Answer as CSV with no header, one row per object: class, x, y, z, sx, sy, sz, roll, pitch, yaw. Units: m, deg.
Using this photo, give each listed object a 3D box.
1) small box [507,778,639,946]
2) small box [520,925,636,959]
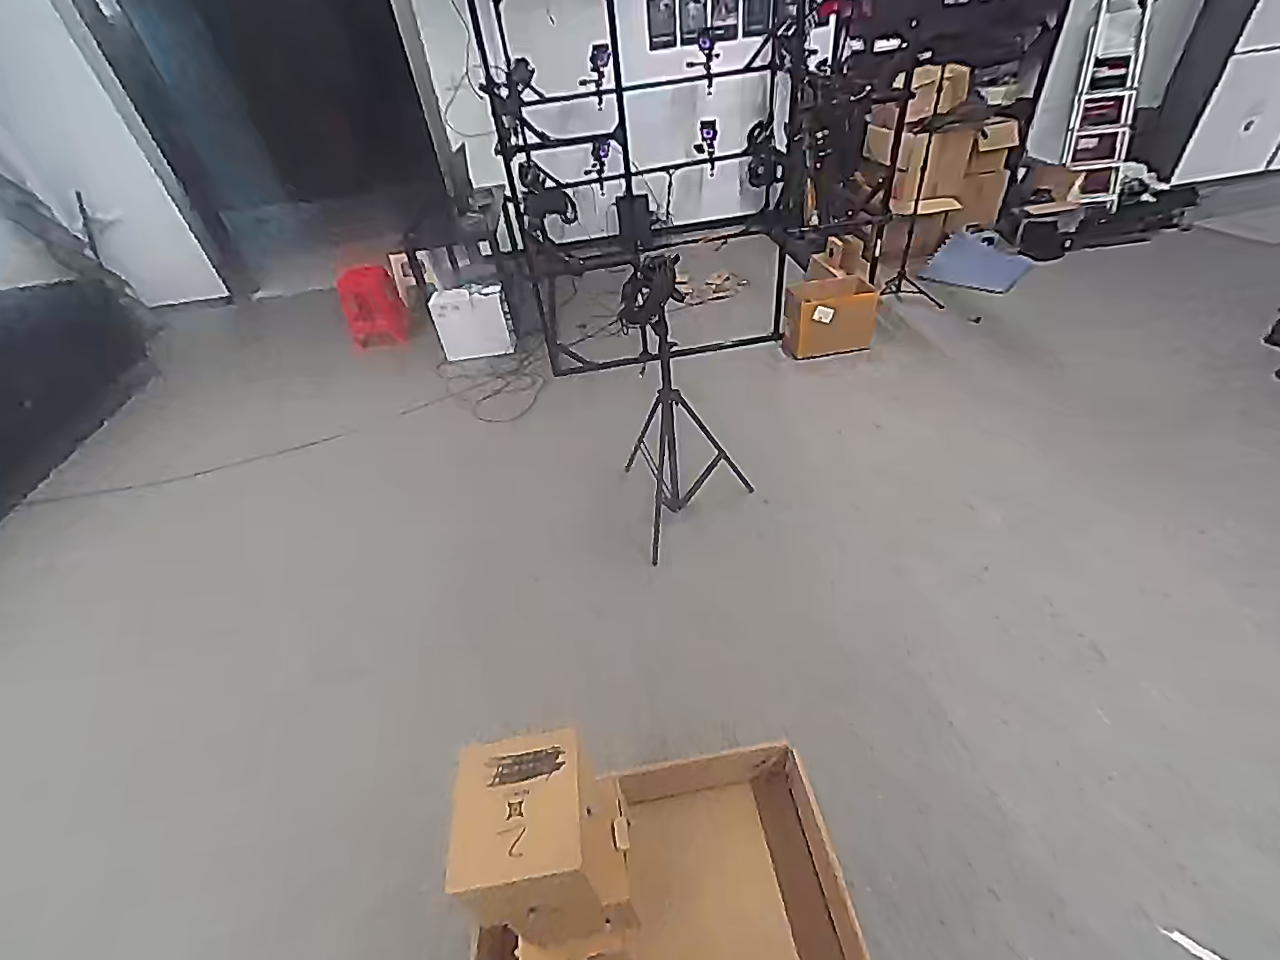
small box,-0.098,0.598,0.848,0.179,0.176,0.168,-10,39,-2
small box,-0.109,0.741,0.935,0.168,0.176,0.179,-13,41,-5
